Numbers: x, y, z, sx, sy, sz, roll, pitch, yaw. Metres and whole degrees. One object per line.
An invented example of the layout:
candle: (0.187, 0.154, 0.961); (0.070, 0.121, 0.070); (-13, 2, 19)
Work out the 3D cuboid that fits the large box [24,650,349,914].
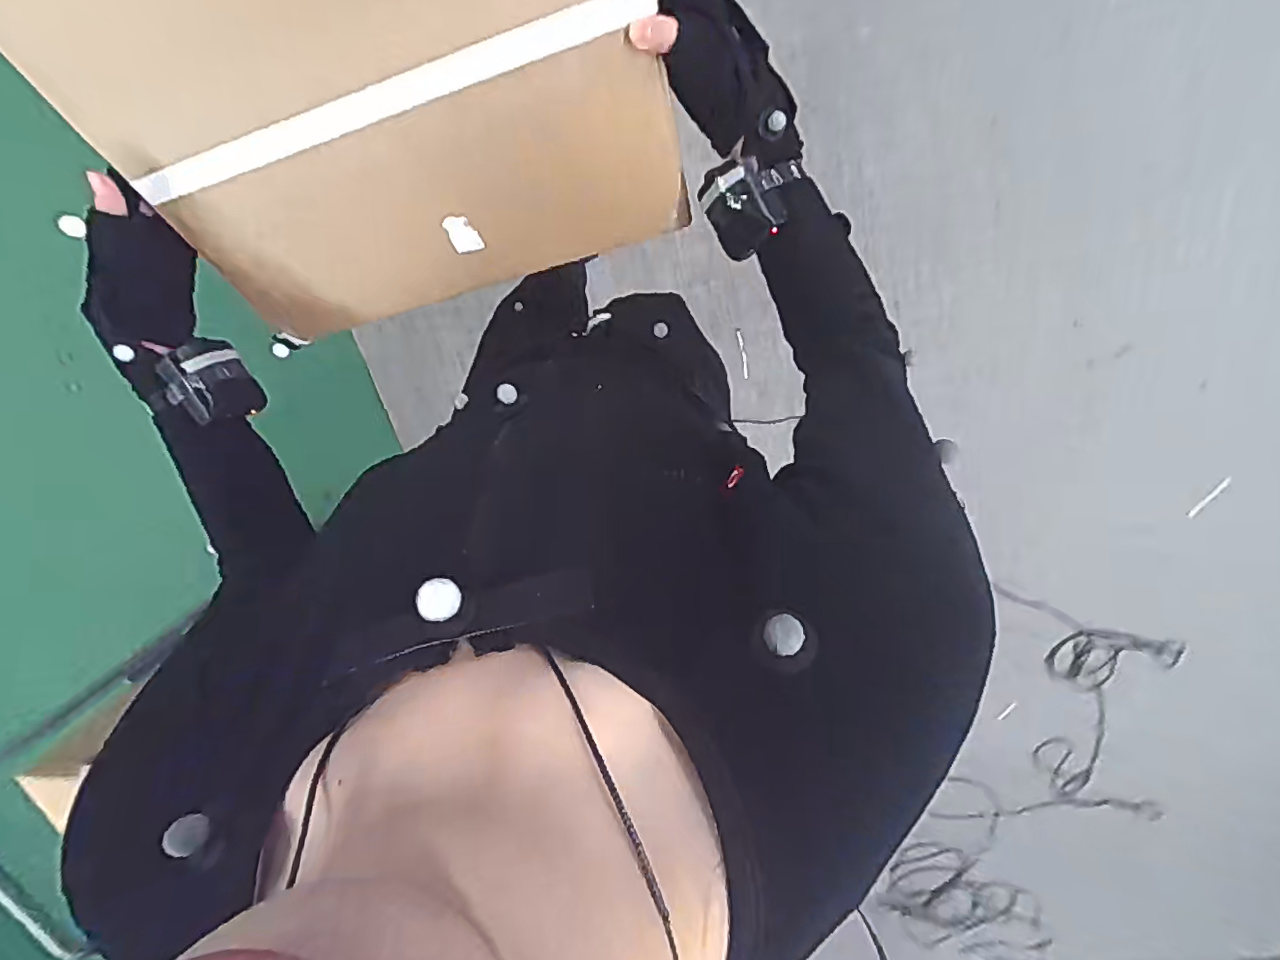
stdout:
large box: (-0.910, 0.632, 1.156); (0.320, 0.320, 0.408); (-6, 113, 7)
